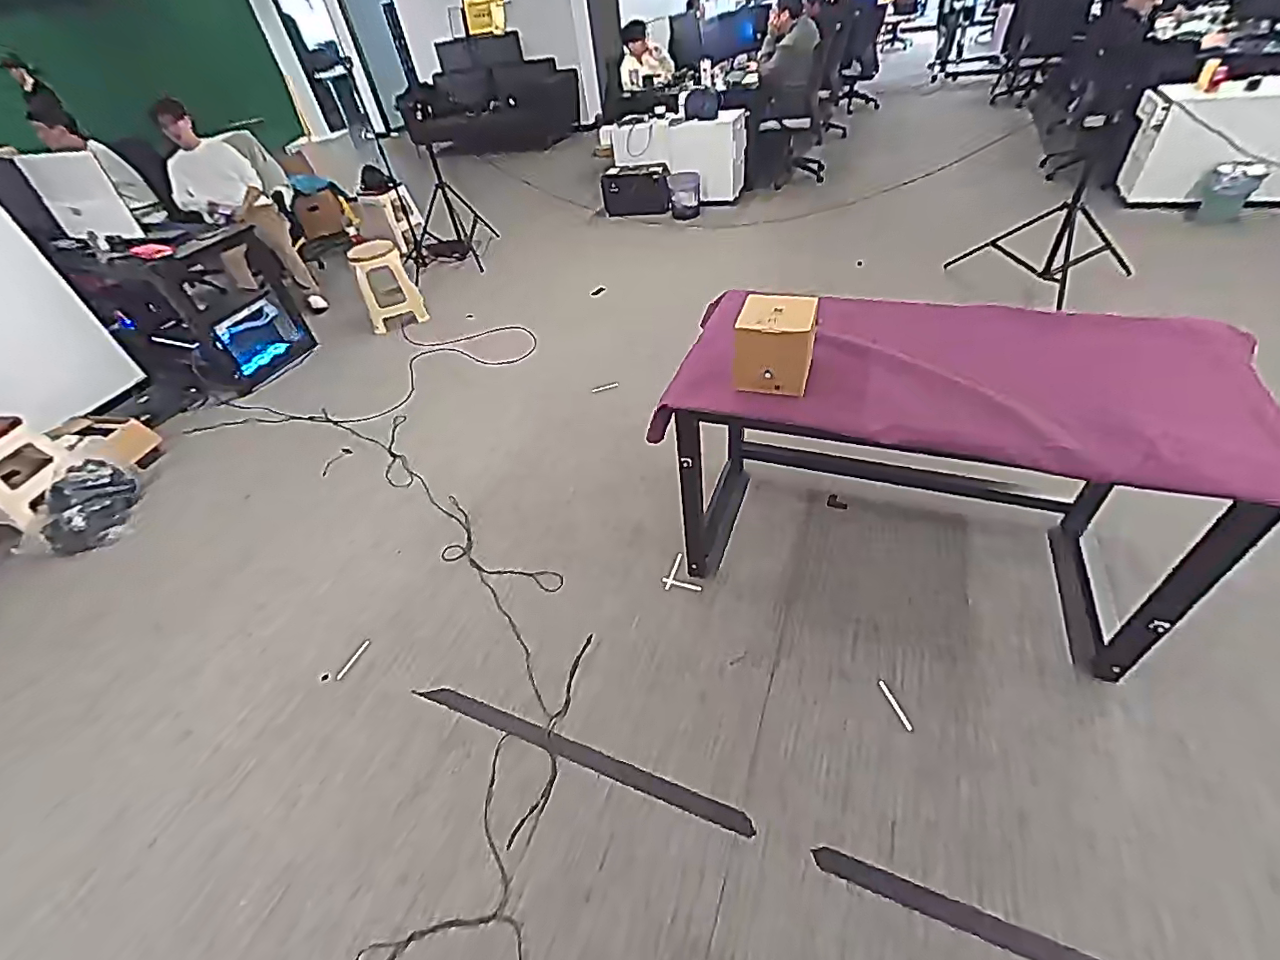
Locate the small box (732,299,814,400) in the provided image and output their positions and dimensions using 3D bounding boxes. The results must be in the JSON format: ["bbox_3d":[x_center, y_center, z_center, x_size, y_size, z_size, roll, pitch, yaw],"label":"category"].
[{"bbox_3d":[0.318,-0.316,1.303,0.168,0.176,0.179,9,45,19],"label":"small box"}]
